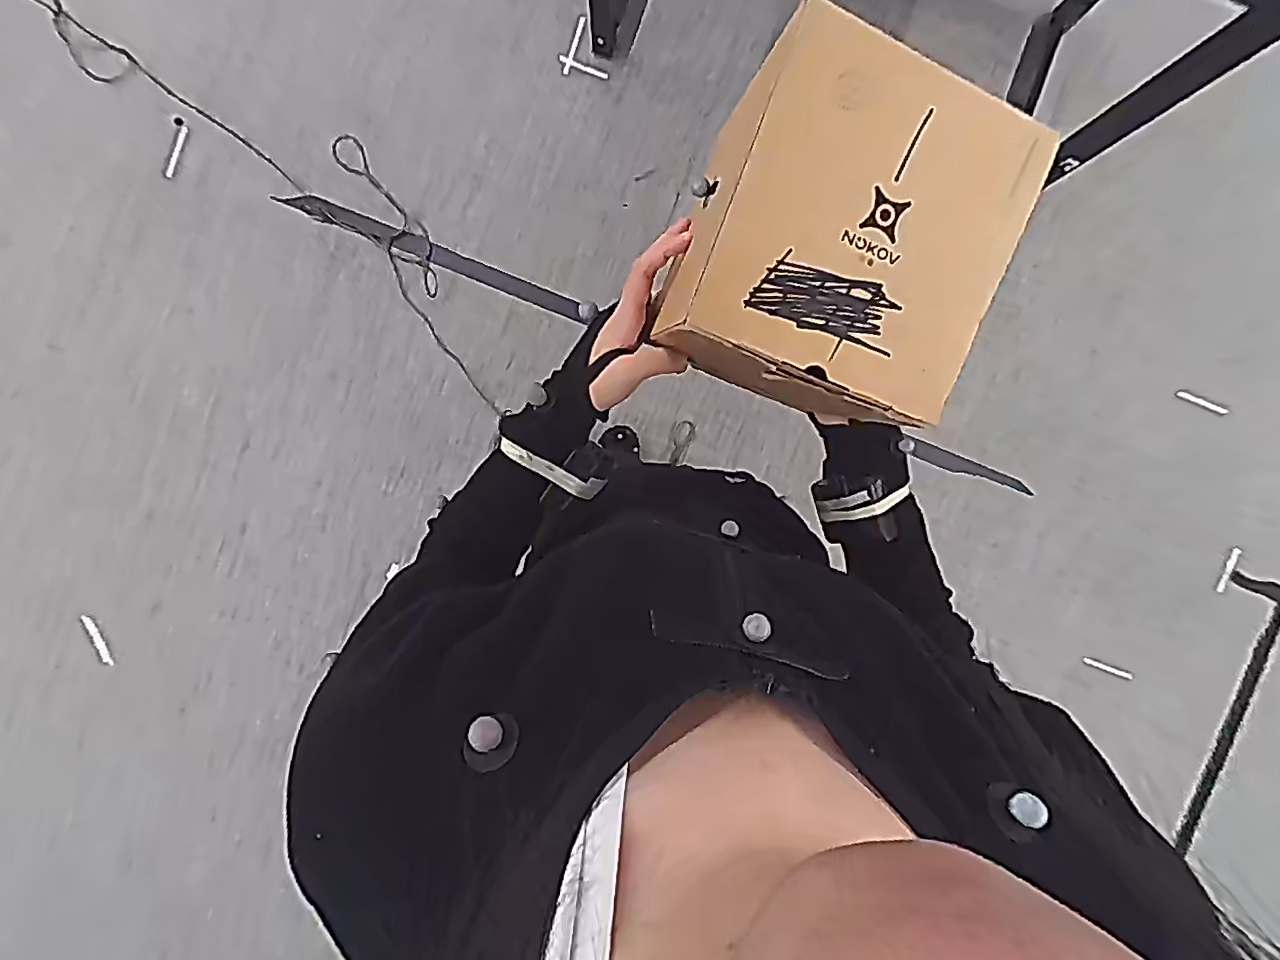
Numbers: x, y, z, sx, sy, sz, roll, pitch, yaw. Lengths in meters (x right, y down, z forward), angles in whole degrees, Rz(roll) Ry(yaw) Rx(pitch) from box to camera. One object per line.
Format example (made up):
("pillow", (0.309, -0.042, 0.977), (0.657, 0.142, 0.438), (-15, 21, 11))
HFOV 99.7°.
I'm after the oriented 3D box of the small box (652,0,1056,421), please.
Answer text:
("small box", (0.116, -0.155, 0.373), (0.168, 0.176, 0.179), (20, 97, -11))
